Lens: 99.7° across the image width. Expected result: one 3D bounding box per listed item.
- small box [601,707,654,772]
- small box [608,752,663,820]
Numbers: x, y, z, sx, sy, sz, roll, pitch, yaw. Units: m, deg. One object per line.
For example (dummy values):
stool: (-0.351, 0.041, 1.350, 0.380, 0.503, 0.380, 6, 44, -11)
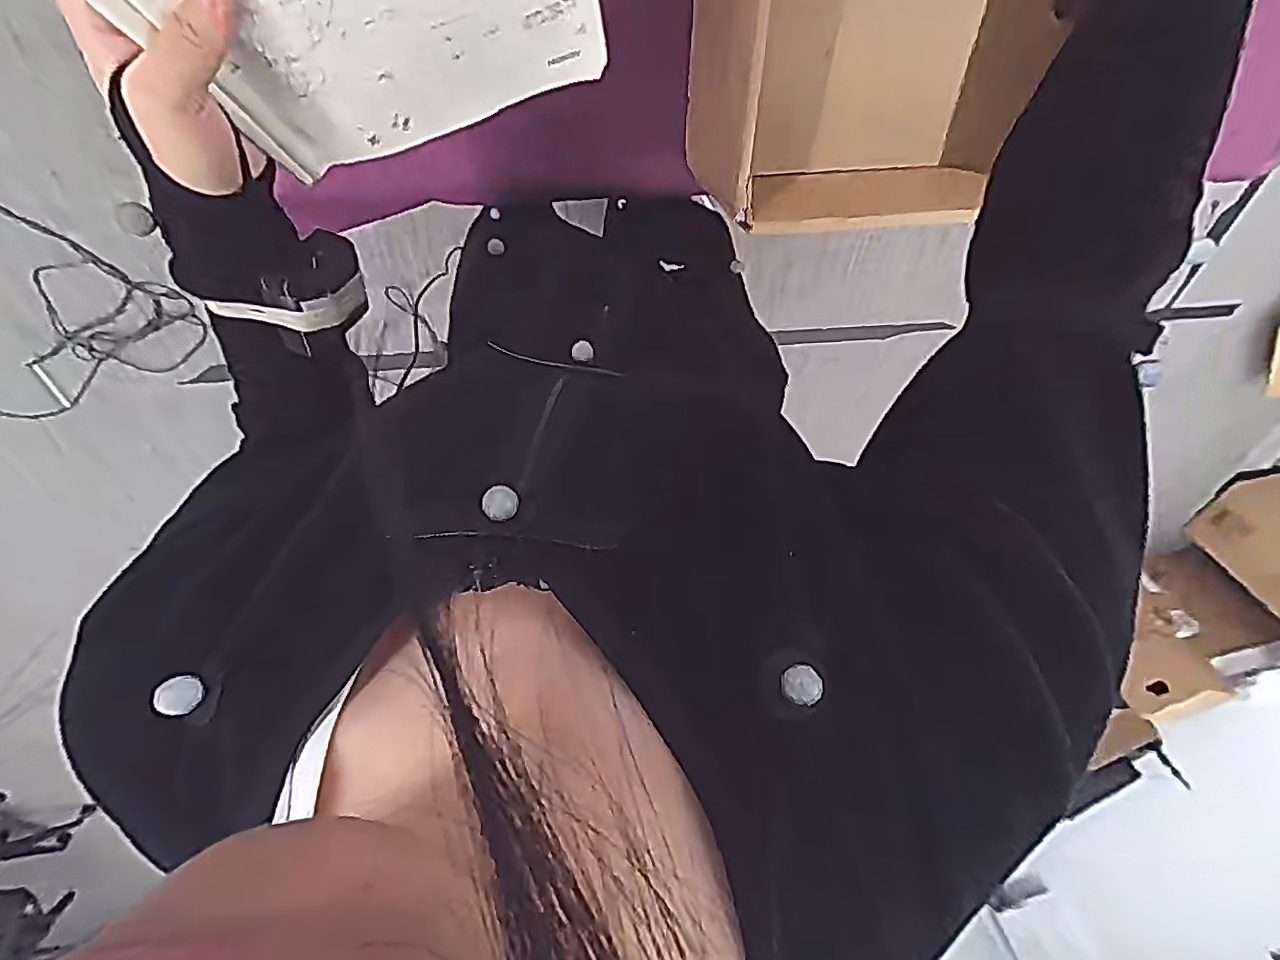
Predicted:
small box: (-0.057, 1.019, 2.124, 0.179, 0.176, 0.168, -5, 136, -13)
small box: (-0.023, 1.142, 2.020, 0.168, 0.176, 0.179, -3, 135, -14)
